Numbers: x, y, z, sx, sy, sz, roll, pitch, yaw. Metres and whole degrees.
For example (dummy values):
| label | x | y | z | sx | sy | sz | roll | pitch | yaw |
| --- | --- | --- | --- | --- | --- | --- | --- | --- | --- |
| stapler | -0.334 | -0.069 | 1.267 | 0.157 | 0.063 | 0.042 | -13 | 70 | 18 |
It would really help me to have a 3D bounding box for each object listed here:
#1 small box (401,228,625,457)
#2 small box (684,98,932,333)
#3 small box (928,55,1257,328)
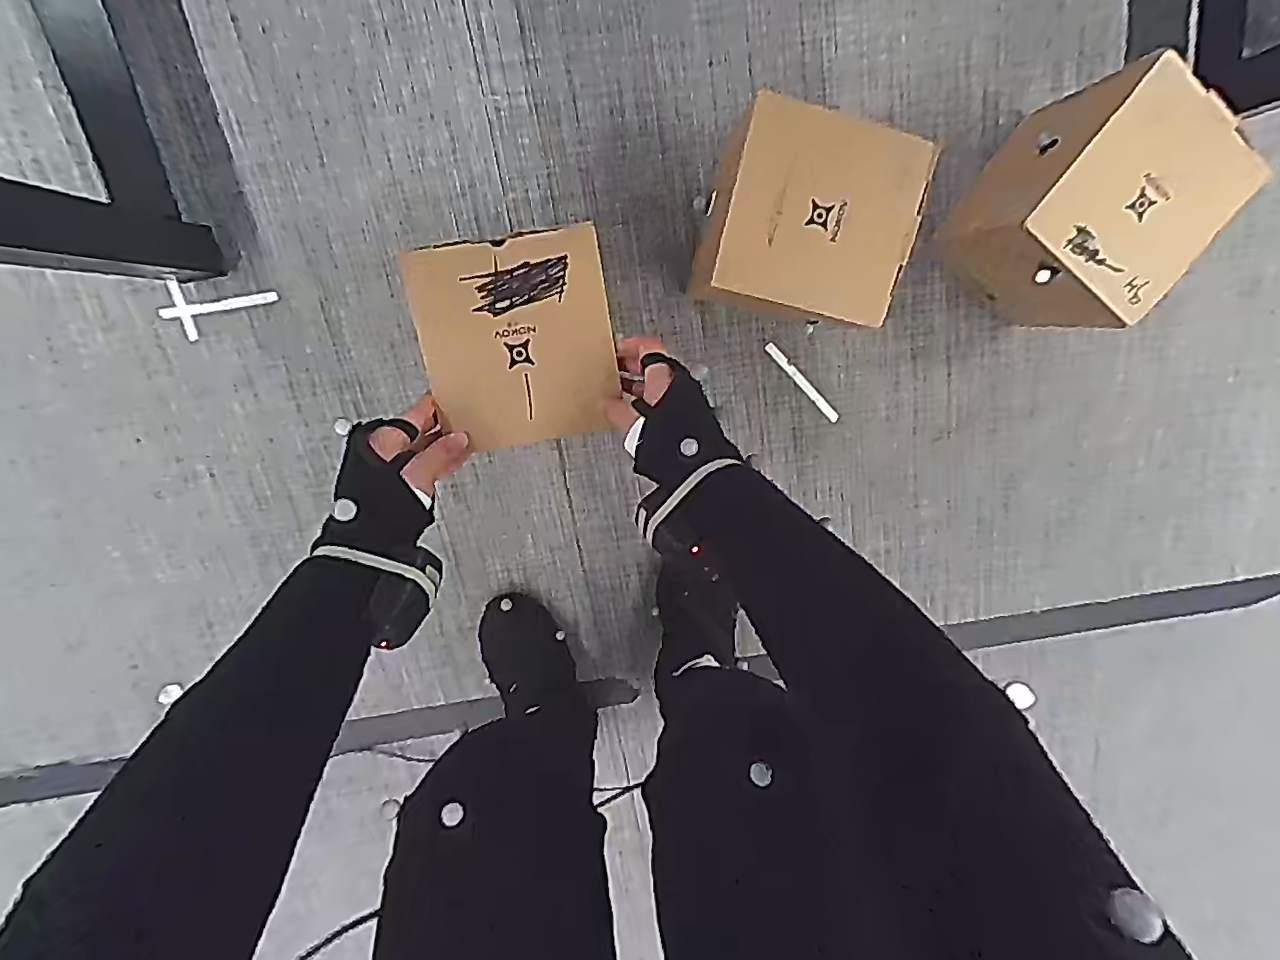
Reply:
| label | x | y | z | sx | sy | sz | roll | pitch | yaw |
| --- | --- | --- | --- | --- | --- | --- | --- | --- | --- |
| small box | -0.115 | -0.134 | 0.546 | 0.168 | 0.176 | 0.179 | -11 | 105 | -4 |
| small box | 0.157 | -0.258 | 0.570 | 0.179 | 0.176 | 0.168 | 11 | 104 | -6 |
| small box | 0.460 | -0.283 | 0.581 | 0.168 | 0.176 | 0.179 | 33 | 101 | -12 |
